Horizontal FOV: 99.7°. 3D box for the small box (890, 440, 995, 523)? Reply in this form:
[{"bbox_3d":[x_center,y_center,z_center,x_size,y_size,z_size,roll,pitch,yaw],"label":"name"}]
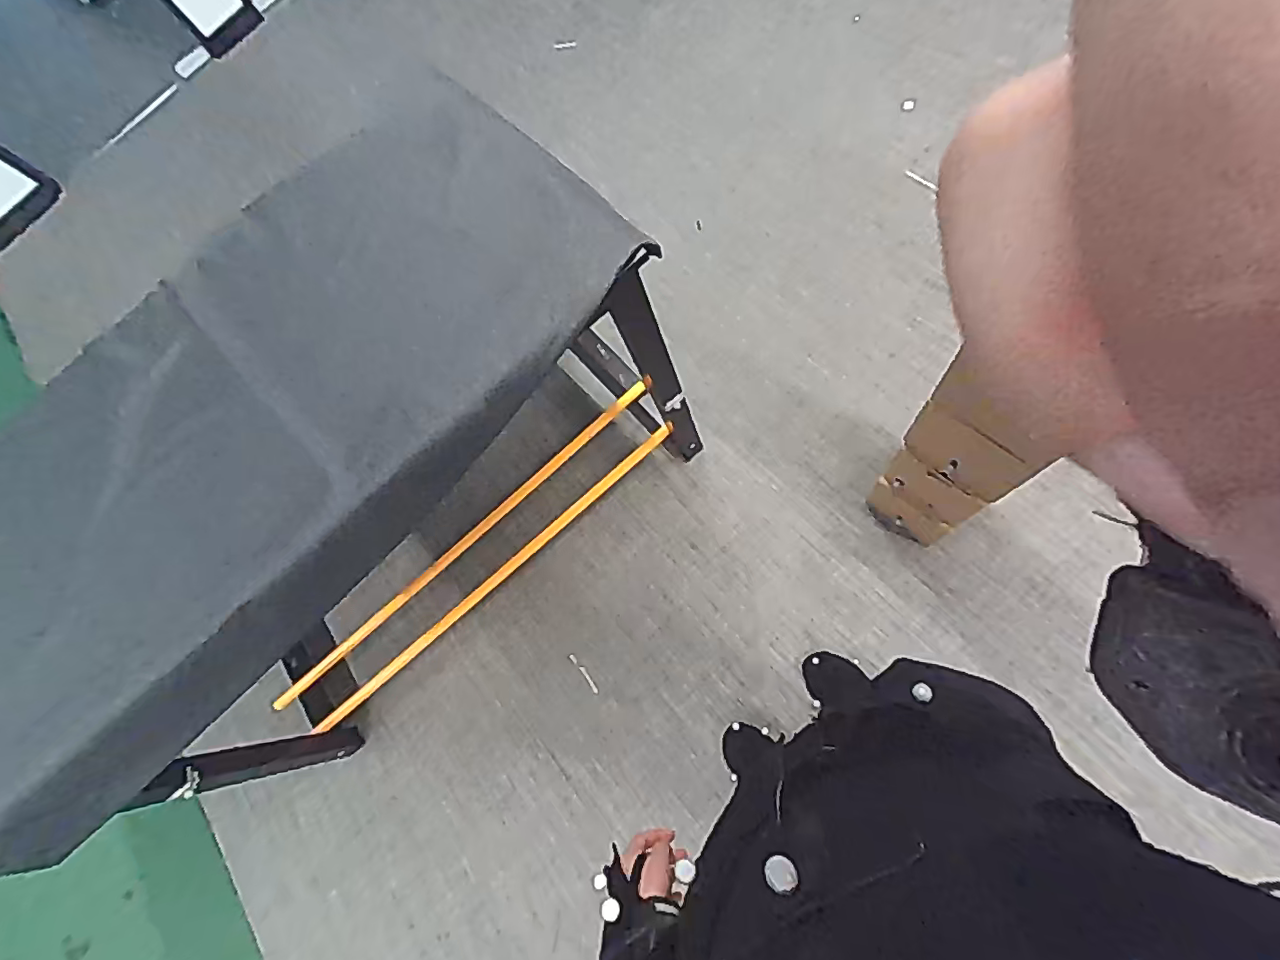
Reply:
[{"bbox_3d":[0.586,-0.045,0.989,0.179,0.176,0.168,-46,69,-4],"label":"small box"}]

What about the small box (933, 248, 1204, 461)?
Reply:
[{"bbox_3d":[0.517,-0.144,0.686,0.168,0.176,0.179,-45,68,-3],"label":"small box"}]

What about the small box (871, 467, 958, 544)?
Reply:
[{"bbox_3d":[0.614,0.011,1.141,0.168,0.176,0.179,42,87,22],"label":"small box"}]

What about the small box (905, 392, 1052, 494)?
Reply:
[{"bbox_3d":[0.551,-0.096,0.838,0.168,0.176,0.179,-46,69,-3],"label":"small box"}]
